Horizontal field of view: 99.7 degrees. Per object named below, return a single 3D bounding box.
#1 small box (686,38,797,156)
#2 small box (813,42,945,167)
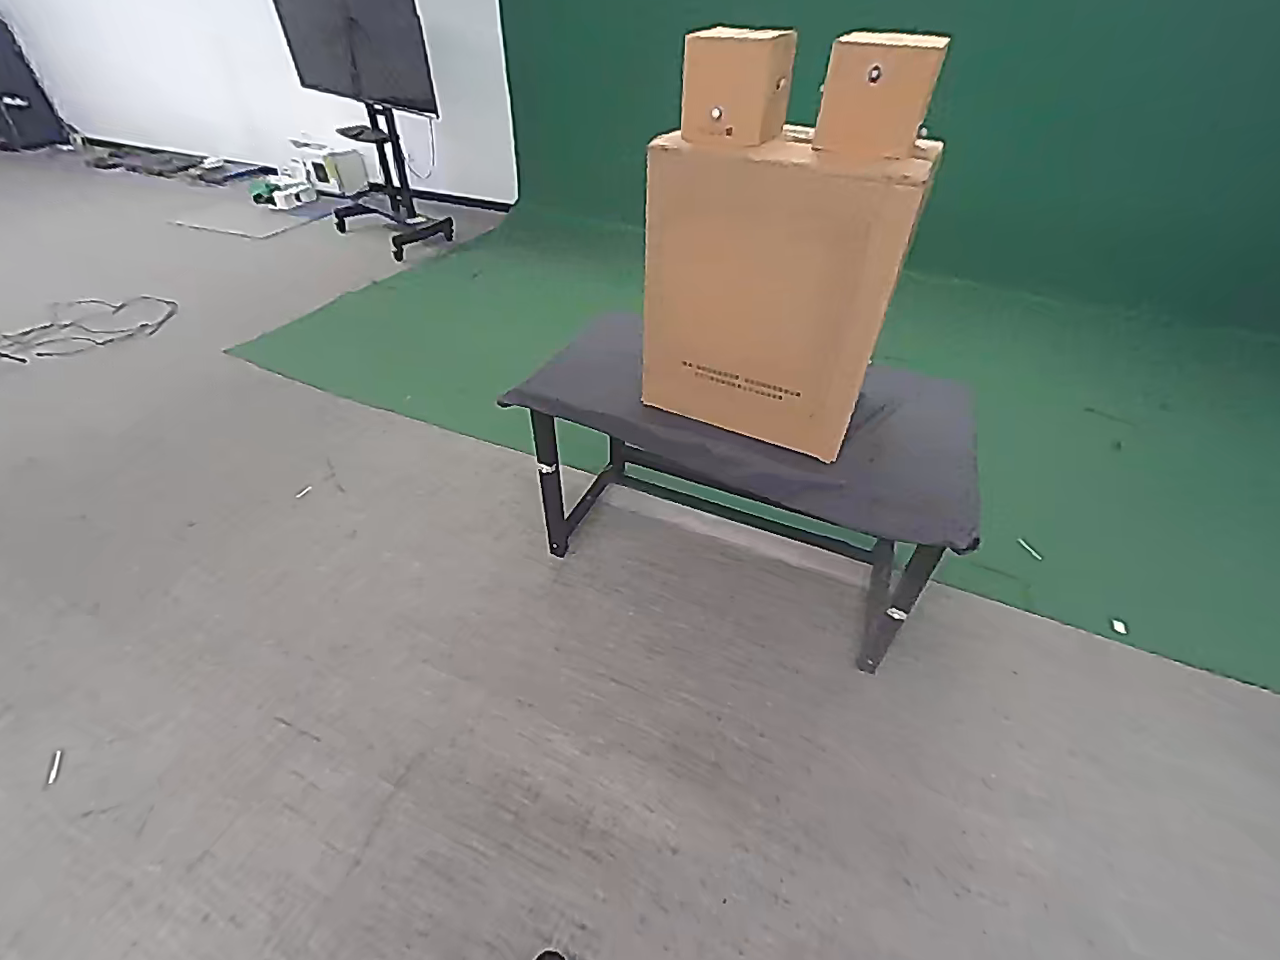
[{"bbox_3d":[0.198,-0.777,1.092,0.168,0.176,0.179,19,47,20],"label":"small box"},{"bbox_3d":[0.445,-0.709,1.022,0.179,0.176,0.168,21,48,17],"label":"small box"}]
